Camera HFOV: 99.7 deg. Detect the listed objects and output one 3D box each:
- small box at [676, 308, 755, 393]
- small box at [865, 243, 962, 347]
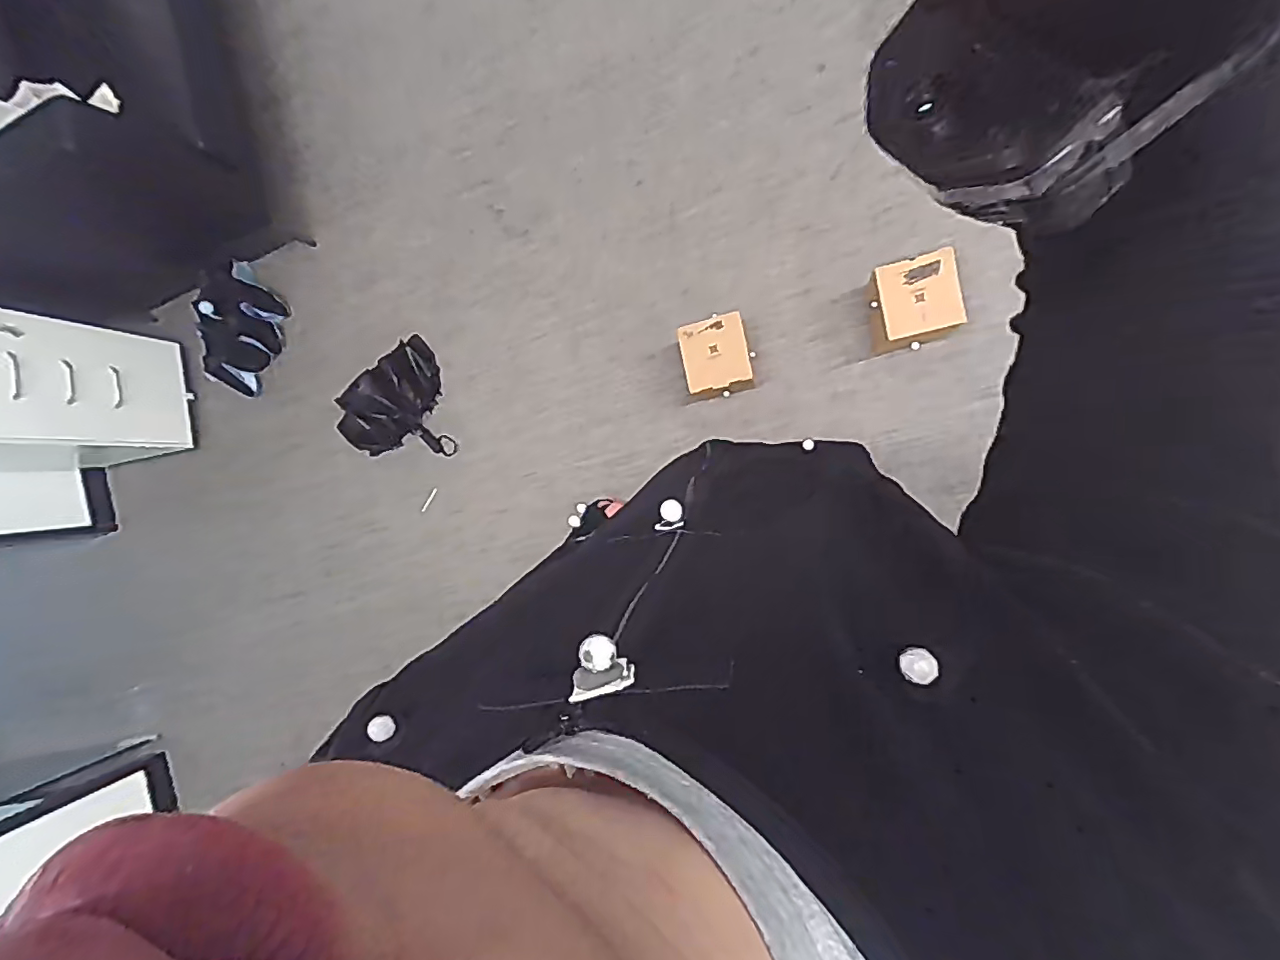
[{"bbox_3d":[0.206,-0.334,1.443,0.168,0.176,0.179,-12,89,16],"label":"small box"},{"bbox_3d":[0.651,-0.437,1.307,0.168,0.176,0.179,-12,90,17],"label":"small box"}]
